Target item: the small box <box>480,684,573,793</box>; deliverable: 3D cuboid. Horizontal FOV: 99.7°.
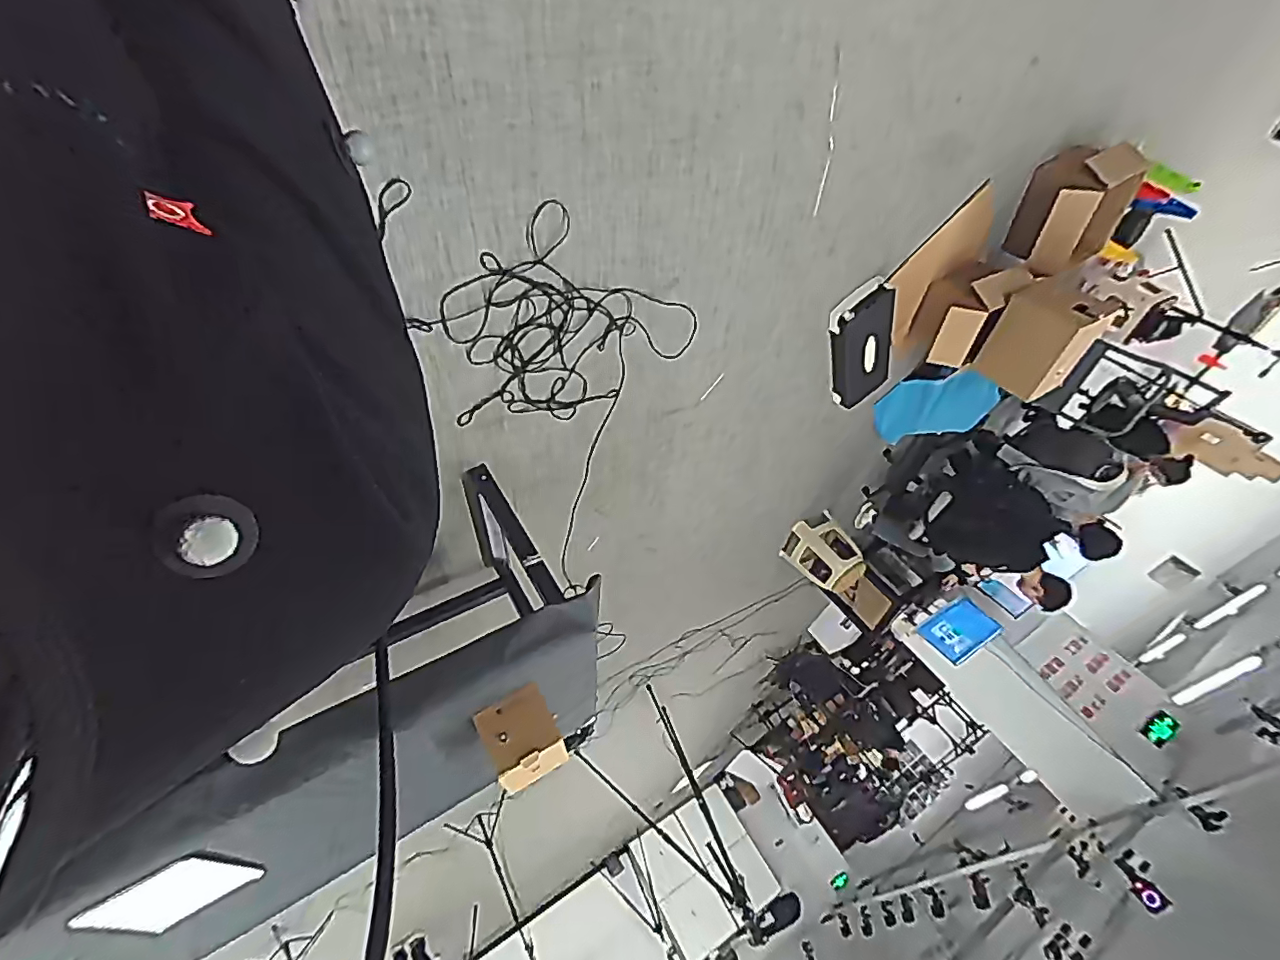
[{"bbox_3d":[-0.284,0.643,1.359,0.168,0.176,0.179,-24,144,-19],"label":"small box"}]
